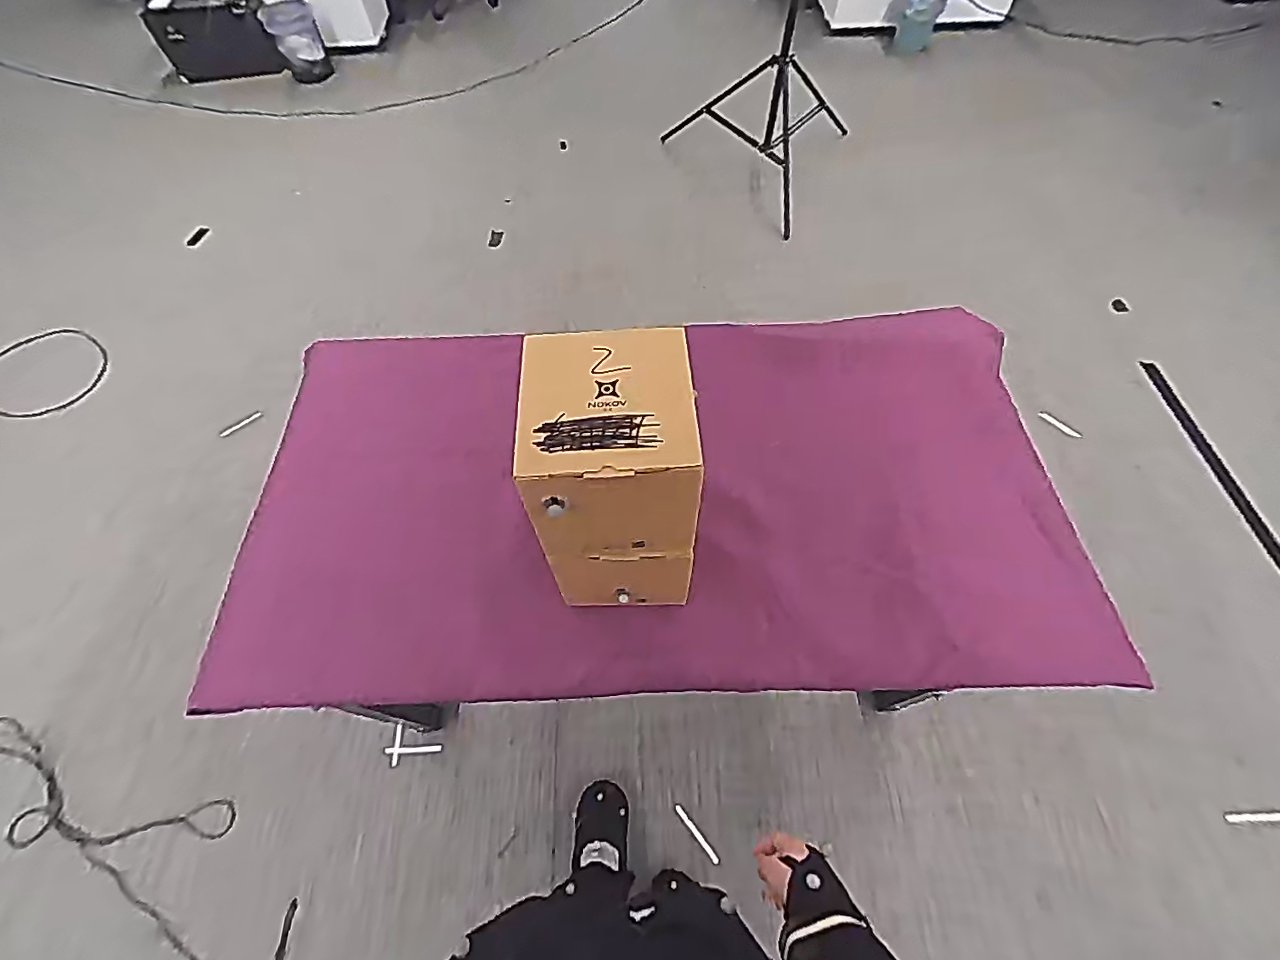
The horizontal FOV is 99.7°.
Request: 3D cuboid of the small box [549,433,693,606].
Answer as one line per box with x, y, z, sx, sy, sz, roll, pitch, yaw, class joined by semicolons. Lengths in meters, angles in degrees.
-0.020;0.055;0.718;0.168;0.176;0.179;-1;59;1;small box
